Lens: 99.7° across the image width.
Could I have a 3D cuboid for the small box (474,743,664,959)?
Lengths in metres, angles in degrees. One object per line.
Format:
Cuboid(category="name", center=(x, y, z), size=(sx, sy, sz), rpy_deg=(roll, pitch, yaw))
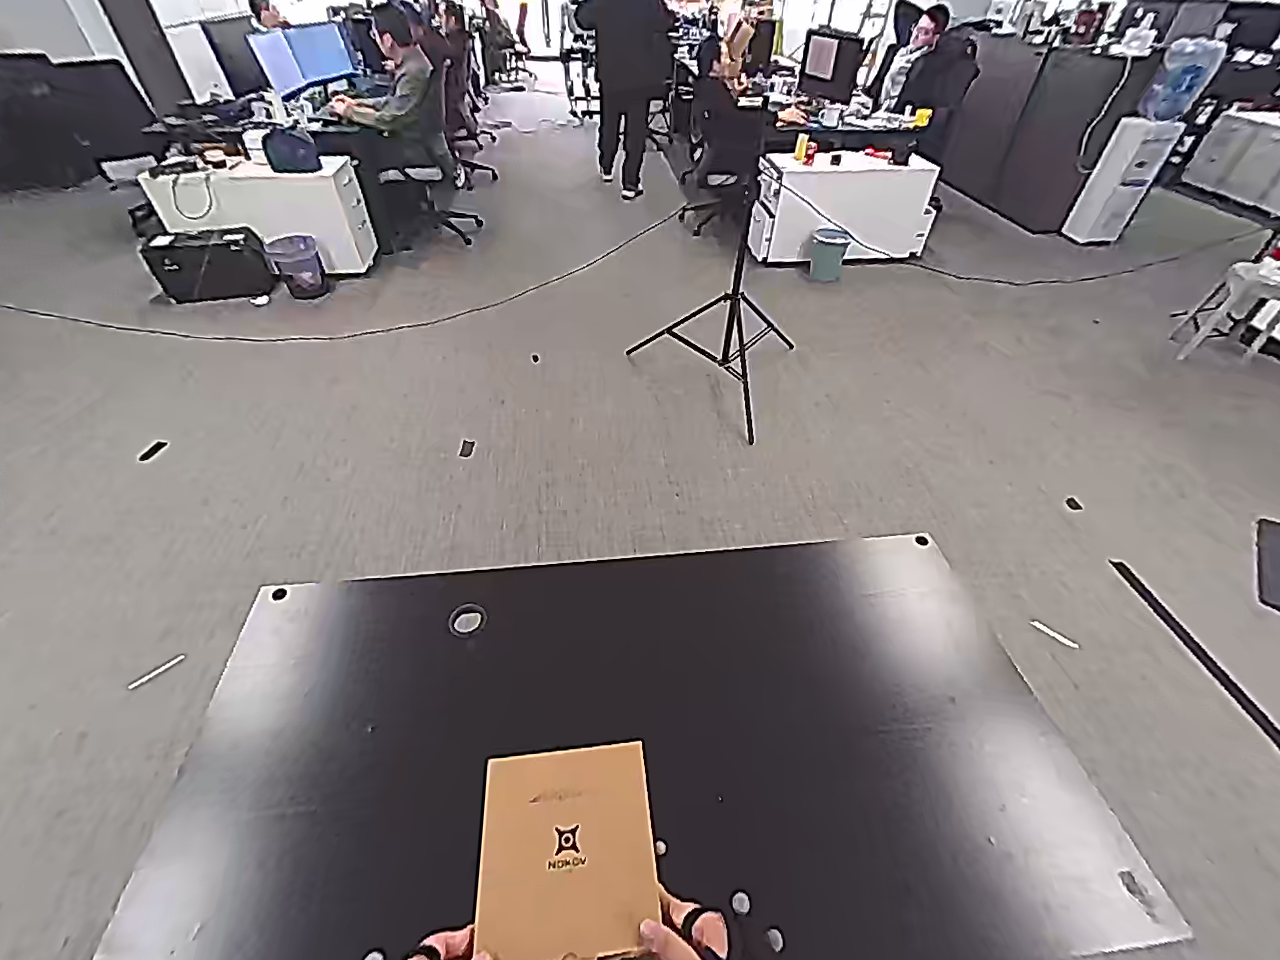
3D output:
Cuboid(category="small box", center=(-0.069, 0.405, 0.565), size=(0.168, 0.176, 0.179), rpy_deg=(-4, 43, -6))
